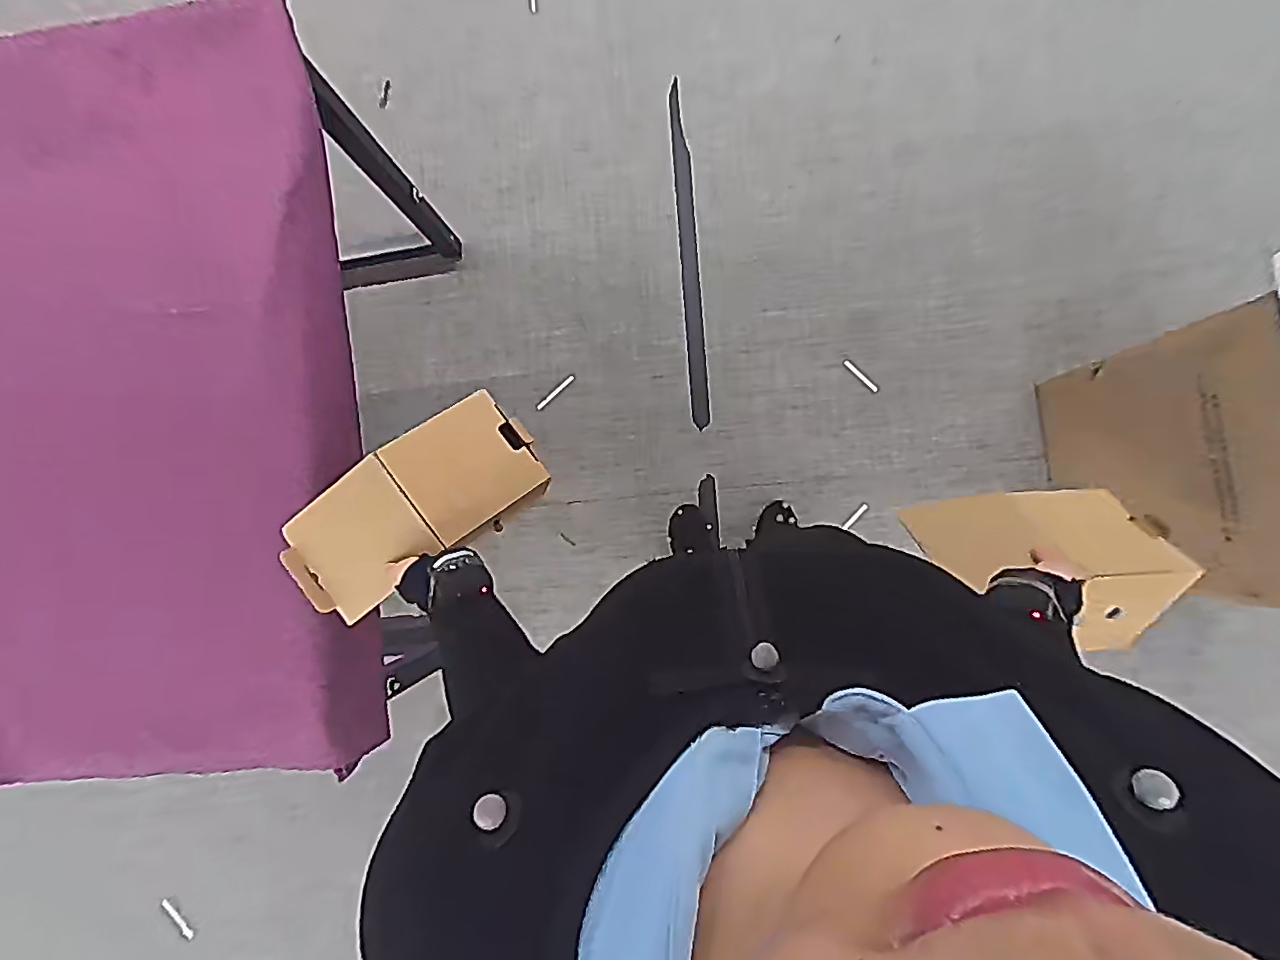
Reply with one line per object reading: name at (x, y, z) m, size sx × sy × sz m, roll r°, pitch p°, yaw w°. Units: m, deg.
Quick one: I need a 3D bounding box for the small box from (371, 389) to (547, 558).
small box at (-0.261, 0.000, 0.809) m, size 0.179 × 0.176 × 0.168 m, roll -36°, pitch 88°, yaw -20°
